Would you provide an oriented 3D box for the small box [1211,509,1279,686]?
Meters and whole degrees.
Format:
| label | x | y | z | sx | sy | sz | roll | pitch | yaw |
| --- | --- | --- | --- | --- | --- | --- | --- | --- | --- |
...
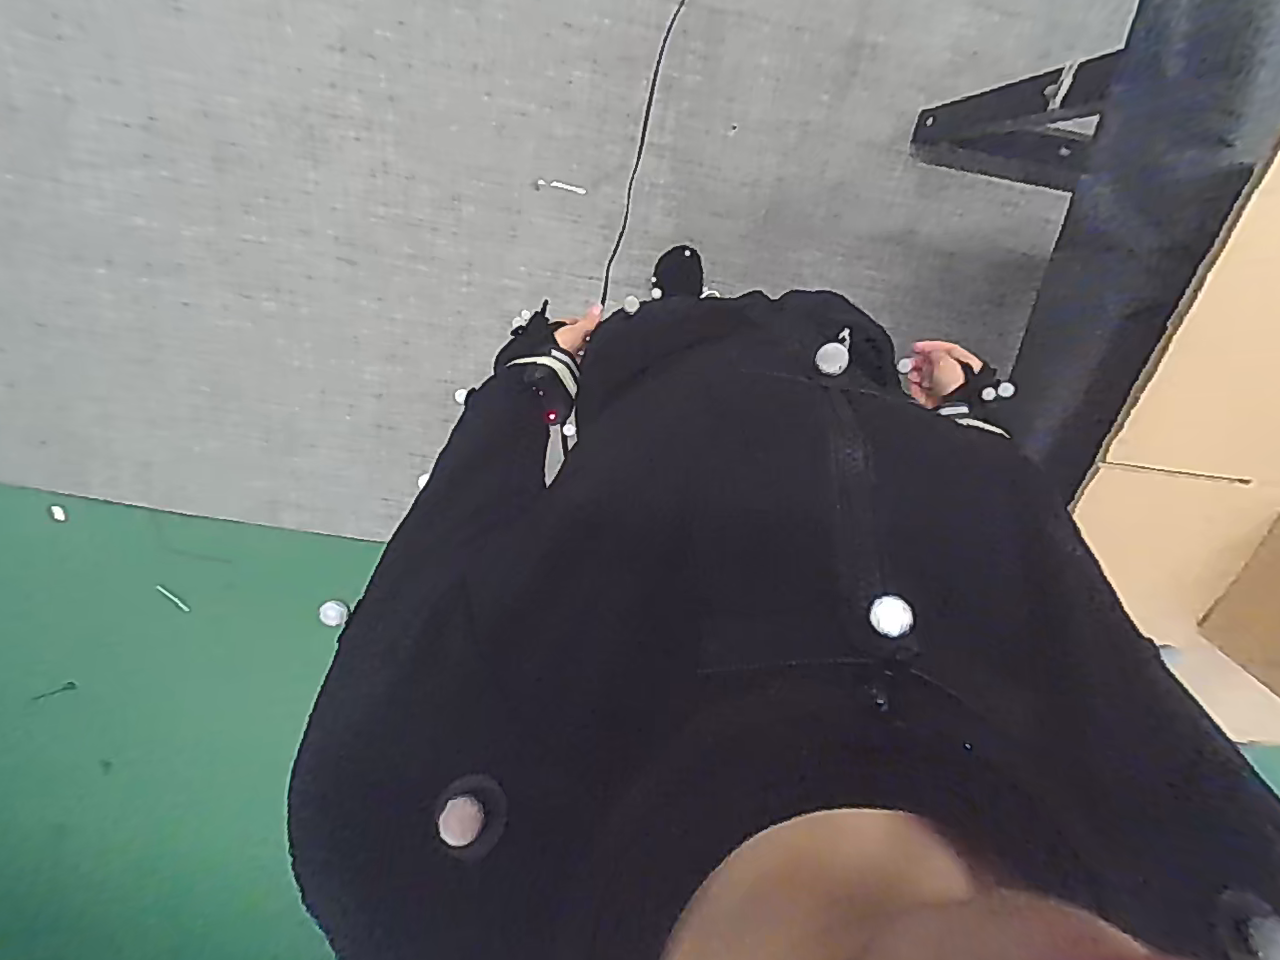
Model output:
| label | x | y | z | sx | sy | sz | roll | pitch | yaw |
| --- | --- | --- | --- | --- | --- | --- | --- | --- | --- |
| small box | 0.712 | 0.129 | 0.502 | 0.168 | 0.176 | 0.179 | -1 | 119 | -3 |
